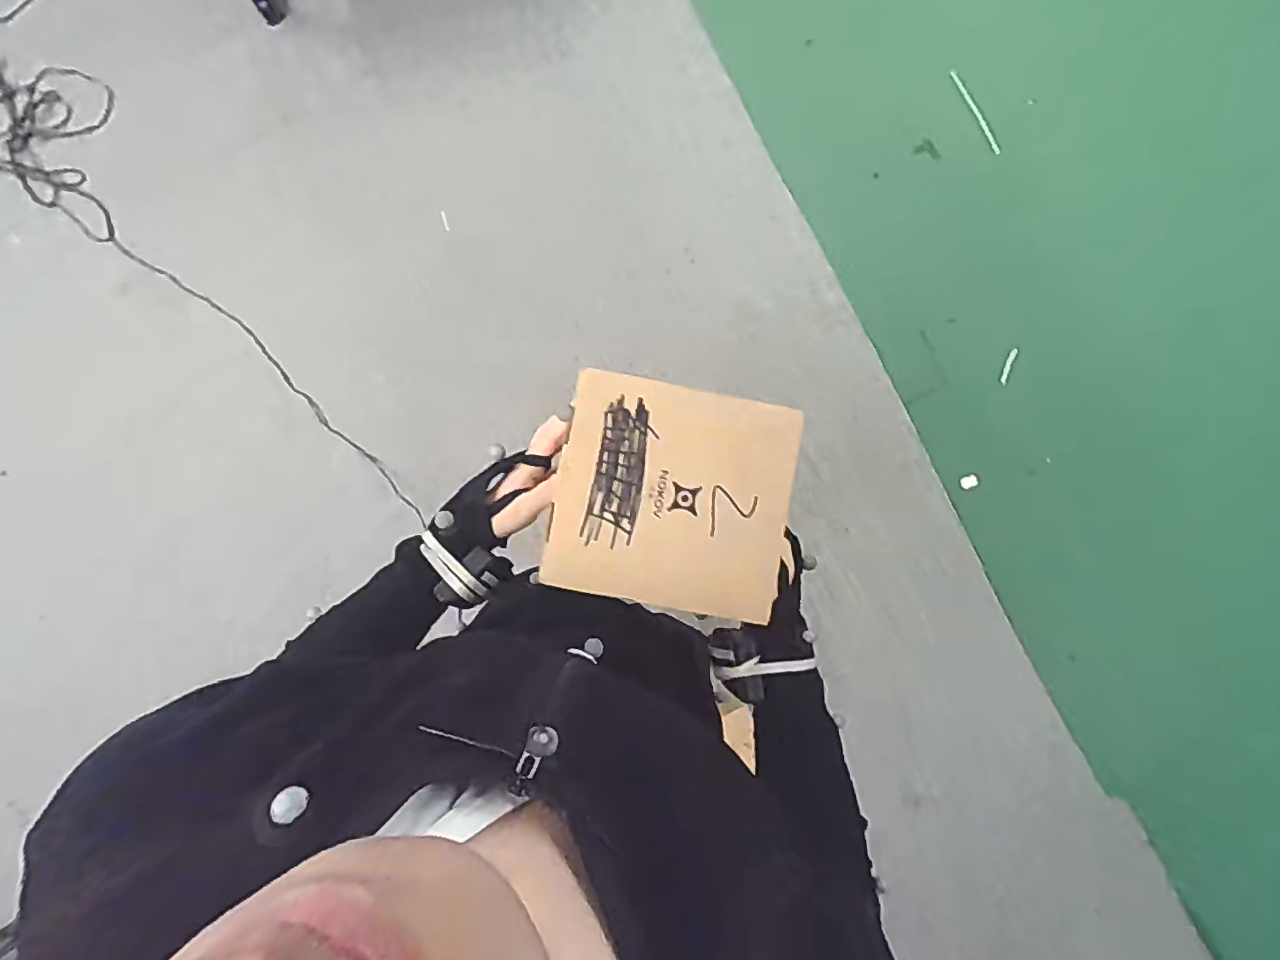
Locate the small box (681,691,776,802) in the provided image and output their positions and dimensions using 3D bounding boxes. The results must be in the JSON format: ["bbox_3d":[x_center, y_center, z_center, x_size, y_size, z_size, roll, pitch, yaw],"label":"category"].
[{"bbox_3d":[0.216,0.671,1.380,0.179,0.176,0.168,-28,84,-4],"label":"small box"}]
